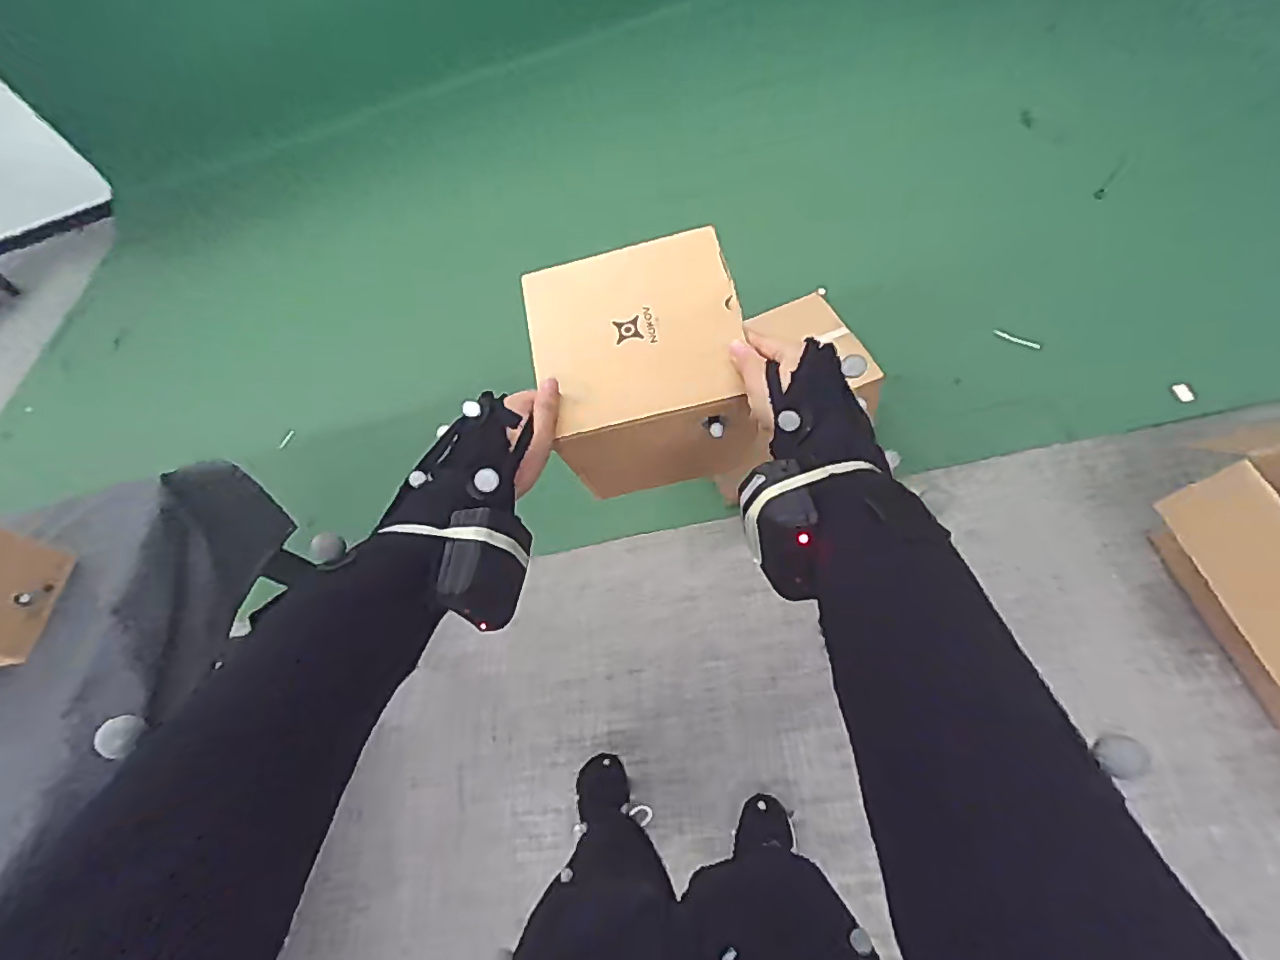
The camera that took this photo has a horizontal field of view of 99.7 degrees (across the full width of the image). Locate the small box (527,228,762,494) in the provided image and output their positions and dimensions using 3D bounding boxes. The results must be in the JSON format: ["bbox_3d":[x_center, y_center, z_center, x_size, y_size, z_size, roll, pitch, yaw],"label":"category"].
[{"bbox_3d":[0.008,-0.097,0.514,0.179,0.176,0.168,-12,70,4],"label":"small box"}]
